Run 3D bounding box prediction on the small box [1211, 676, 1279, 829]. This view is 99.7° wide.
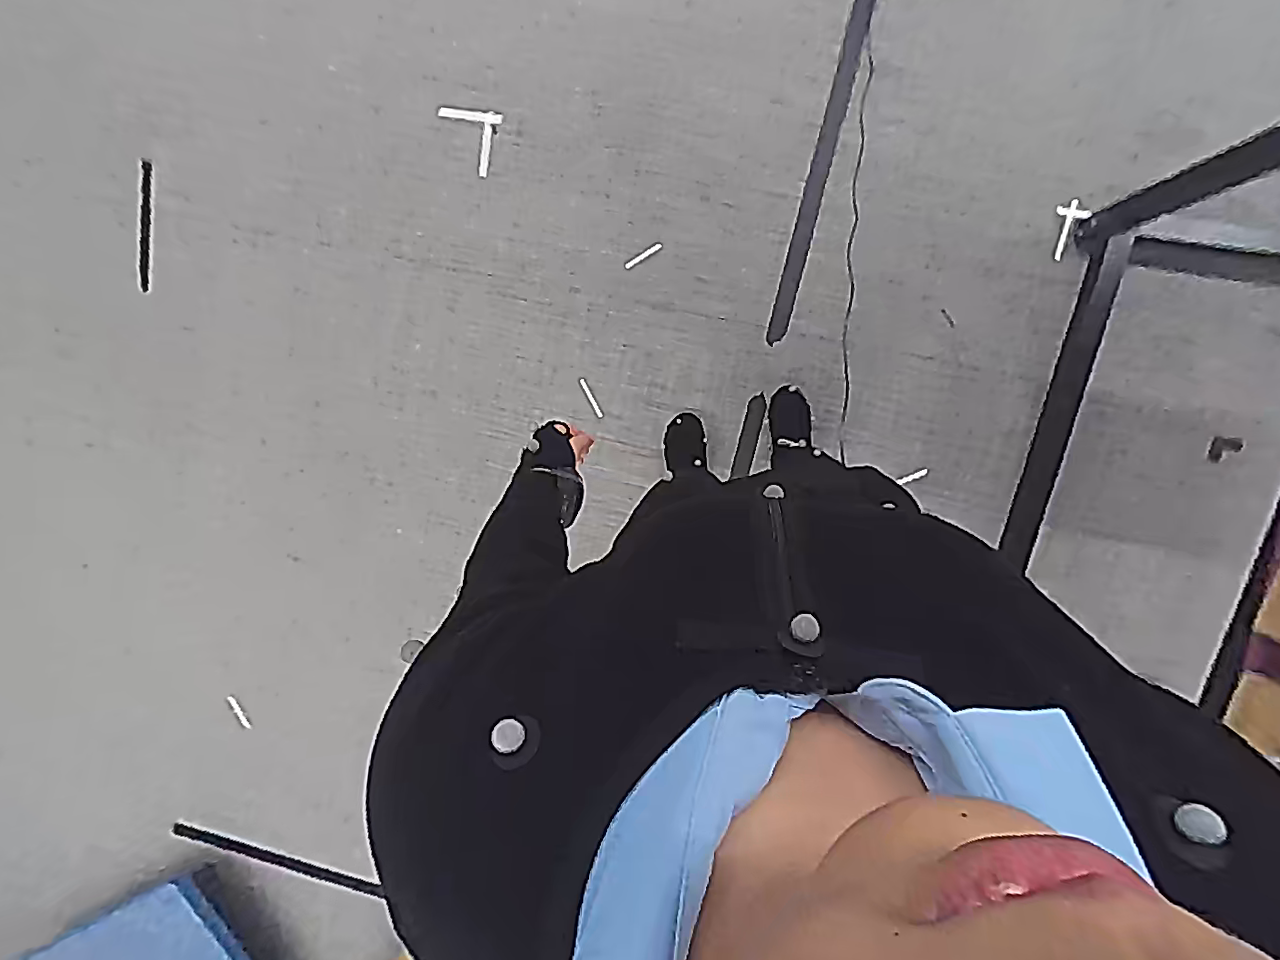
[{"bbox_3d":[0.850,0.354,0.630,0.179,0.176,0.168,13,100,4],"label":"small box"}]
